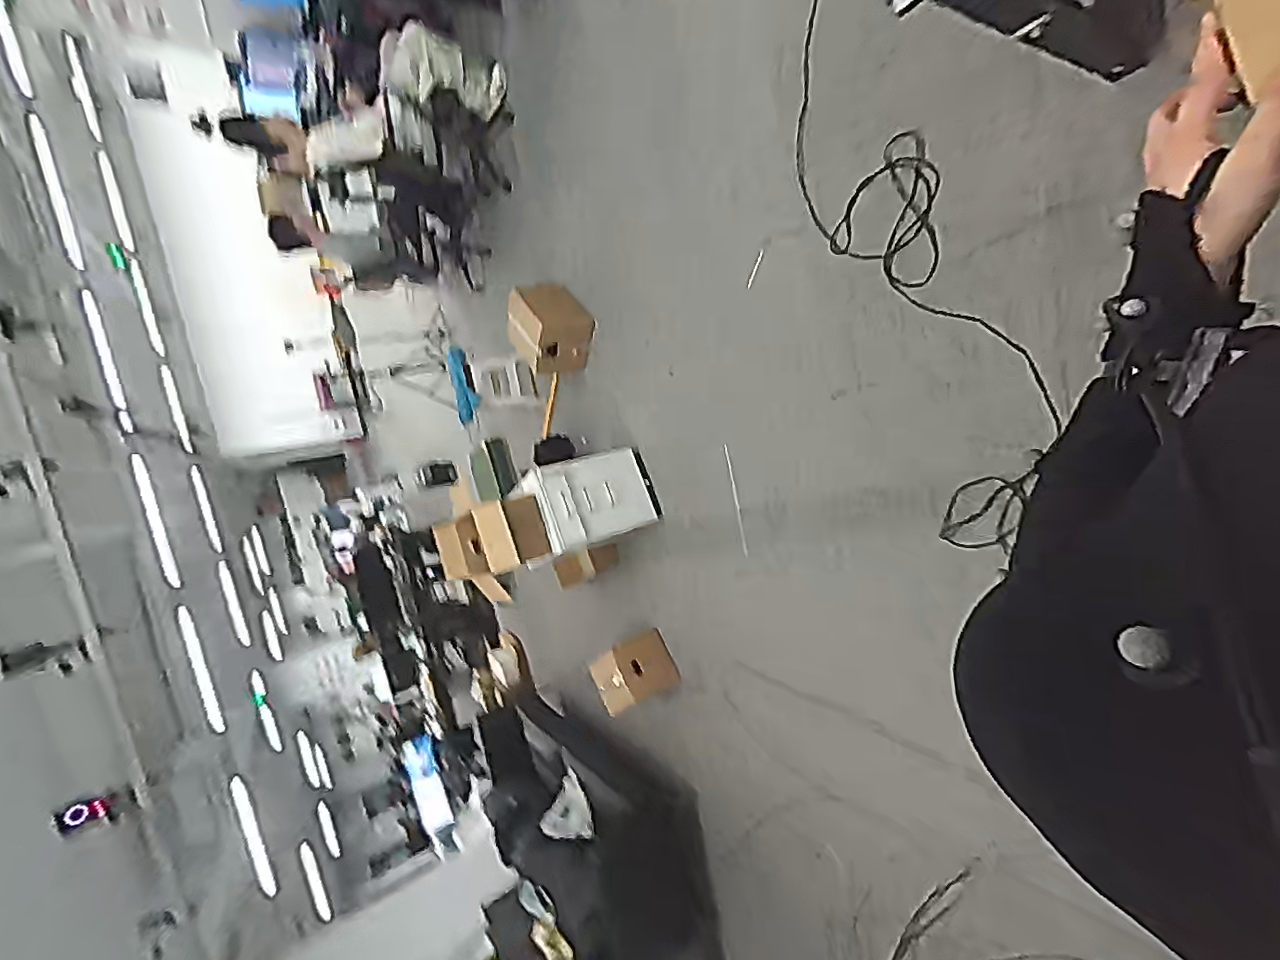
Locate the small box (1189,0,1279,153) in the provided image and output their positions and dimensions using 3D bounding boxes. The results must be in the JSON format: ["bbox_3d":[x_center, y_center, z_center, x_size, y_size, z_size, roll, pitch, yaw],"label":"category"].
[{"bbox_3d":[0.458,-0.328,0.324,0.168,0.176,0.179,-20,90,52],"label":"small box"}]

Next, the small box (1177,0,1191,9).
[{"bbox_3d":[0.976,-0.877,0.844,0.168,0.176,0.179,6,108,56],"label":"small box"}]
